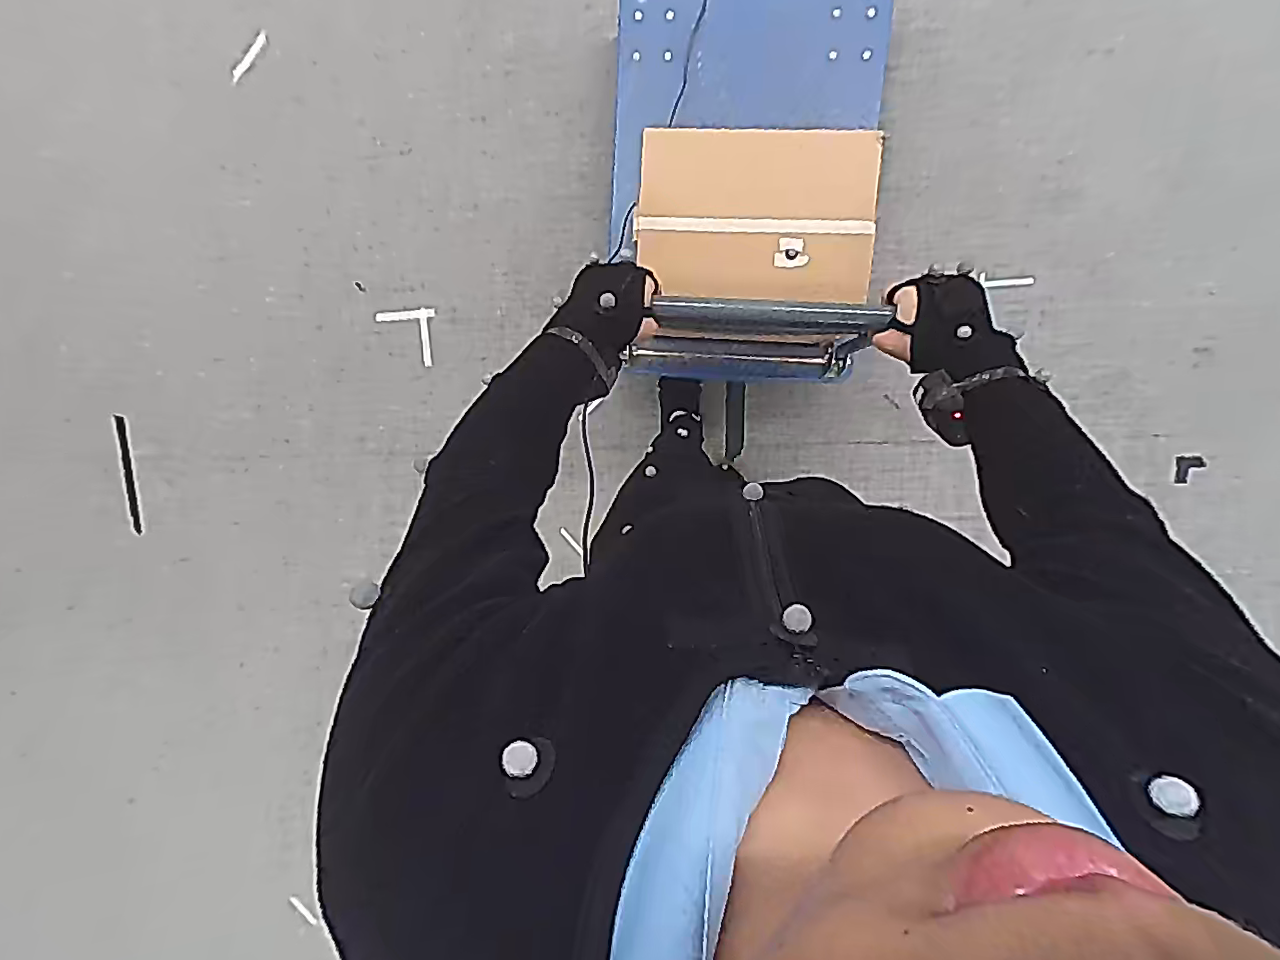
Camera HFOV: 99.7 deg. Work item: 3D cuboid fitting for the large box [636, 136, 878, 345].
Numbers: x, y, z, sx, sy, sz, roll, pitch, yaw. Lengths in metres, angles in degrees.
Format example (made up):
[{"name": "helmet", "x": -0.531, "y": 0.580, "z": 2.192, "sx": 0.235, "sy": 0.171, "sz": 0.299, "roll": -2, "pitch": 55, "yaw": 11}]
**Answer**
[{"name": "large box", "x": 0.204, "y": -0.447, "z": 1.079, "sx": 0.408, "sy": 0.320, "sz": 0.320, "roll": 3, "pitch": 99, "yaw": 4}]
